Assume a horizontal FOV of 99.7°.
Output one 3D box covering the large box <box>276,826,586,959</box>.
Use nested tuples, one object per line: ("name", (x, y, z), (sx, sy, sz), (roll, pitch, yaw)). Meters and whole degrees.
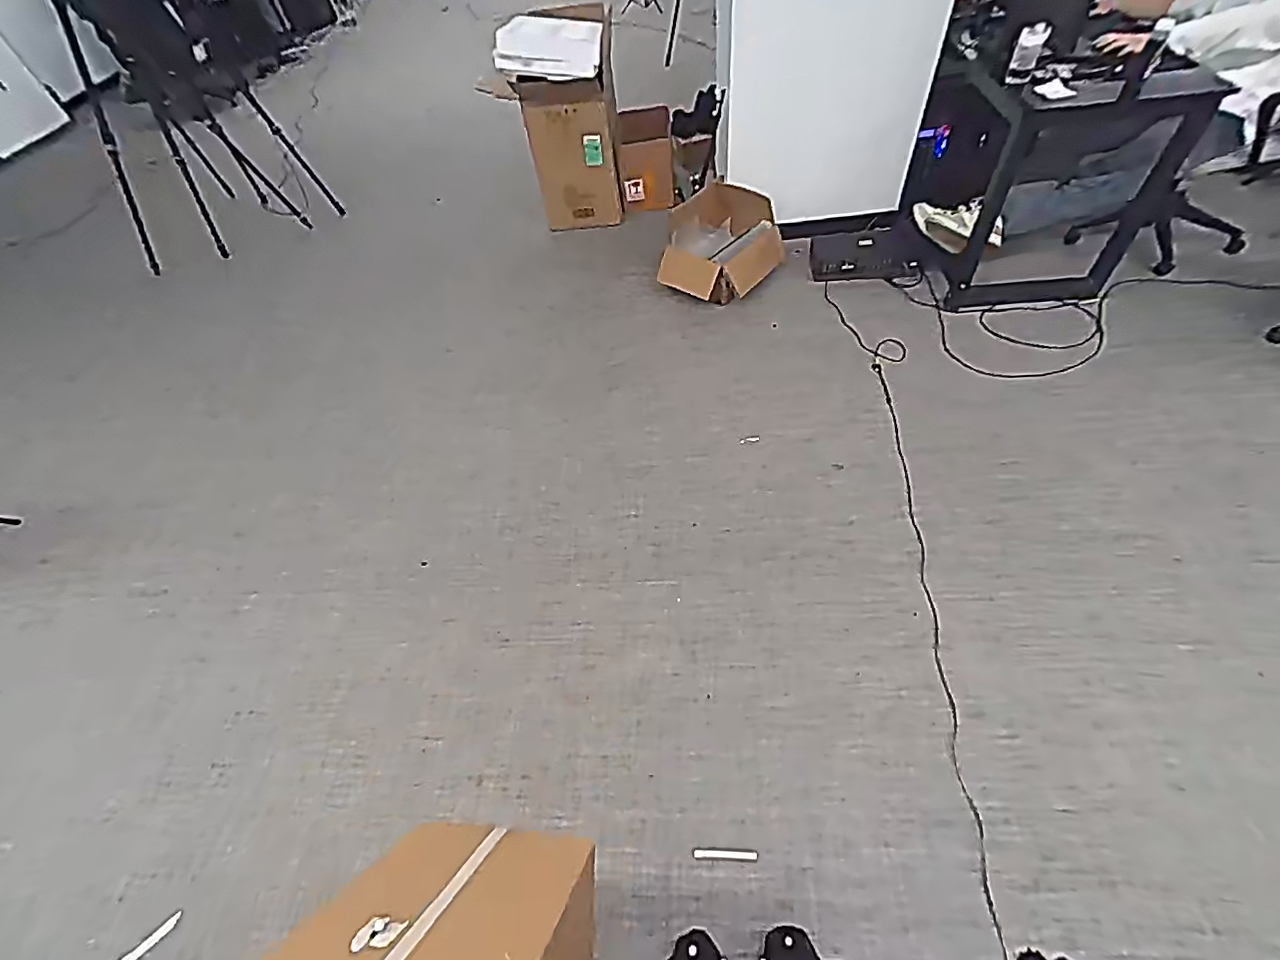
("large box", (-0.267, 0.725, 0.696), (0.320, 0.408, 0.320), (-2, 84, 10))
